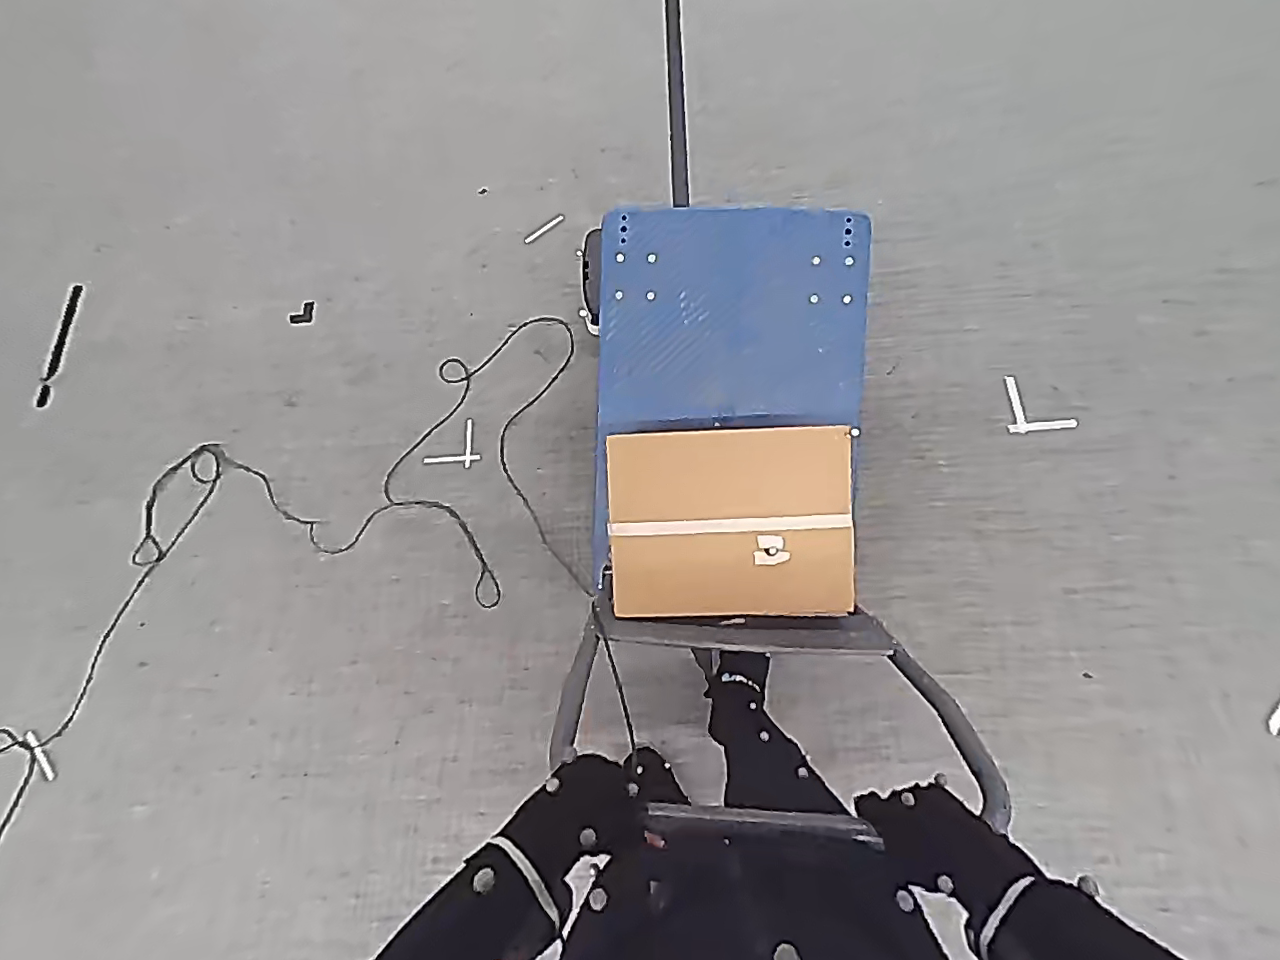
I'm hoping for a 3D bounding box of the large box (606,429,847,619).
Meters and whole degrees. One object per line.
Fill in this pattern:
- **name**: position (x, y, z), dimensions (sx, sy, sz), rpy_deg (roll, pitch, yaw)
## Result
- **large box**: position (0.152, 0.070, 1.074), dimensions (0.408, 0.320, 0.320), rpy_deg (-3, 94, 2)
